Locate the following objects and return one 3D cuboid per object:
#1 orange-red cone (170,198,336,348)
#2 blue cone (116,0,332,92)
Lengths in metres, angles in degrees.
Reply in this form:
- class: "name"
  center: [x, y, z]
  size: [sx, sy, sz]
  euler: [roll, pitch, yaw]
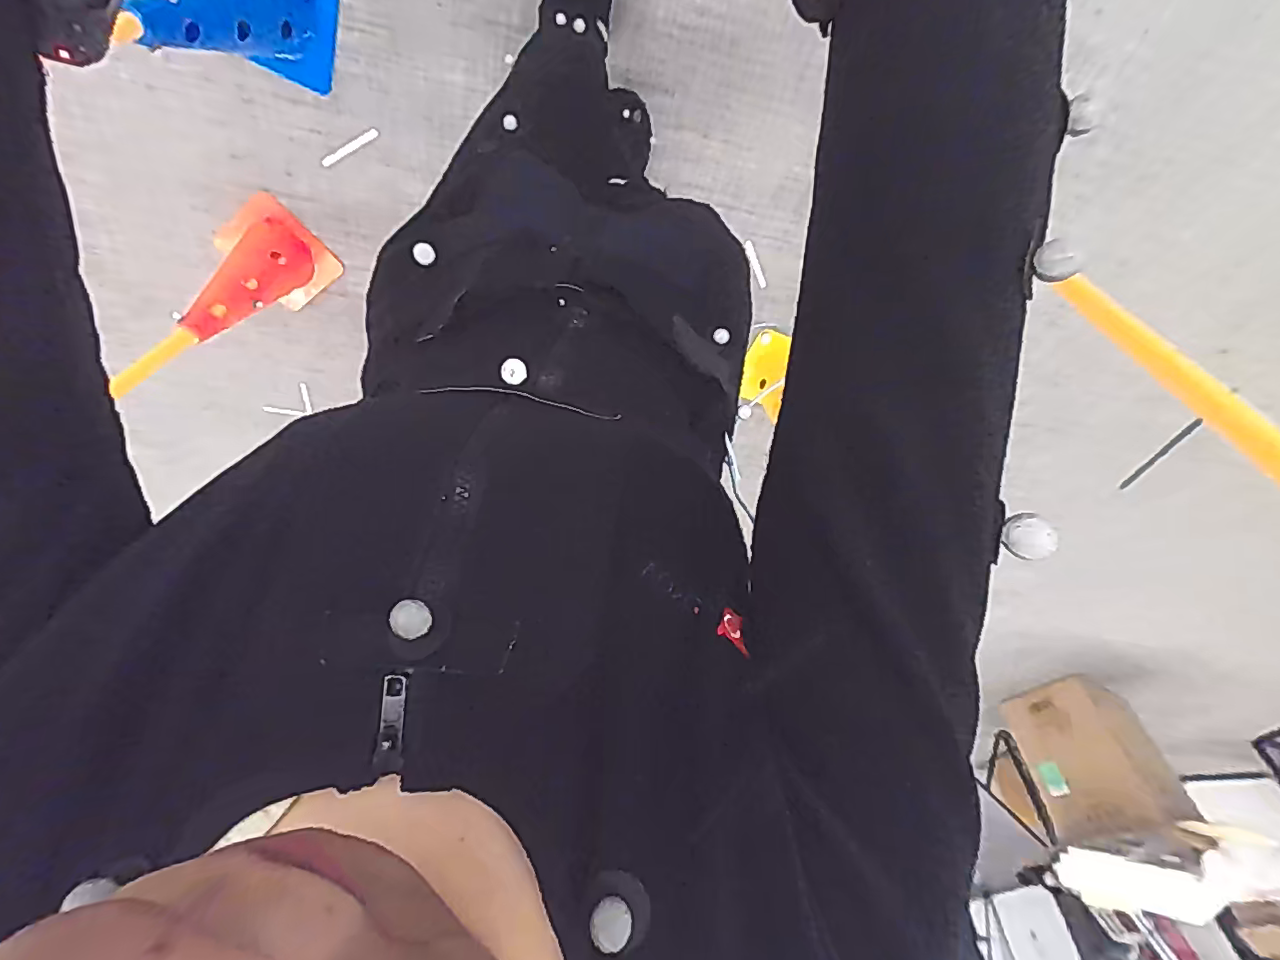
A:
- class: "orange-red cone"
  center: [-0.793, -0.366, 1.055]
  size: [0.199, 0.360, 0.198]
  euler: [-25, 130, 20]
- class: "blue cone"
  center: [-0.616, -0.669, 0.784]
  size: [0.193, 0.380, 0.192]
  euler: [21, 131, -19]
